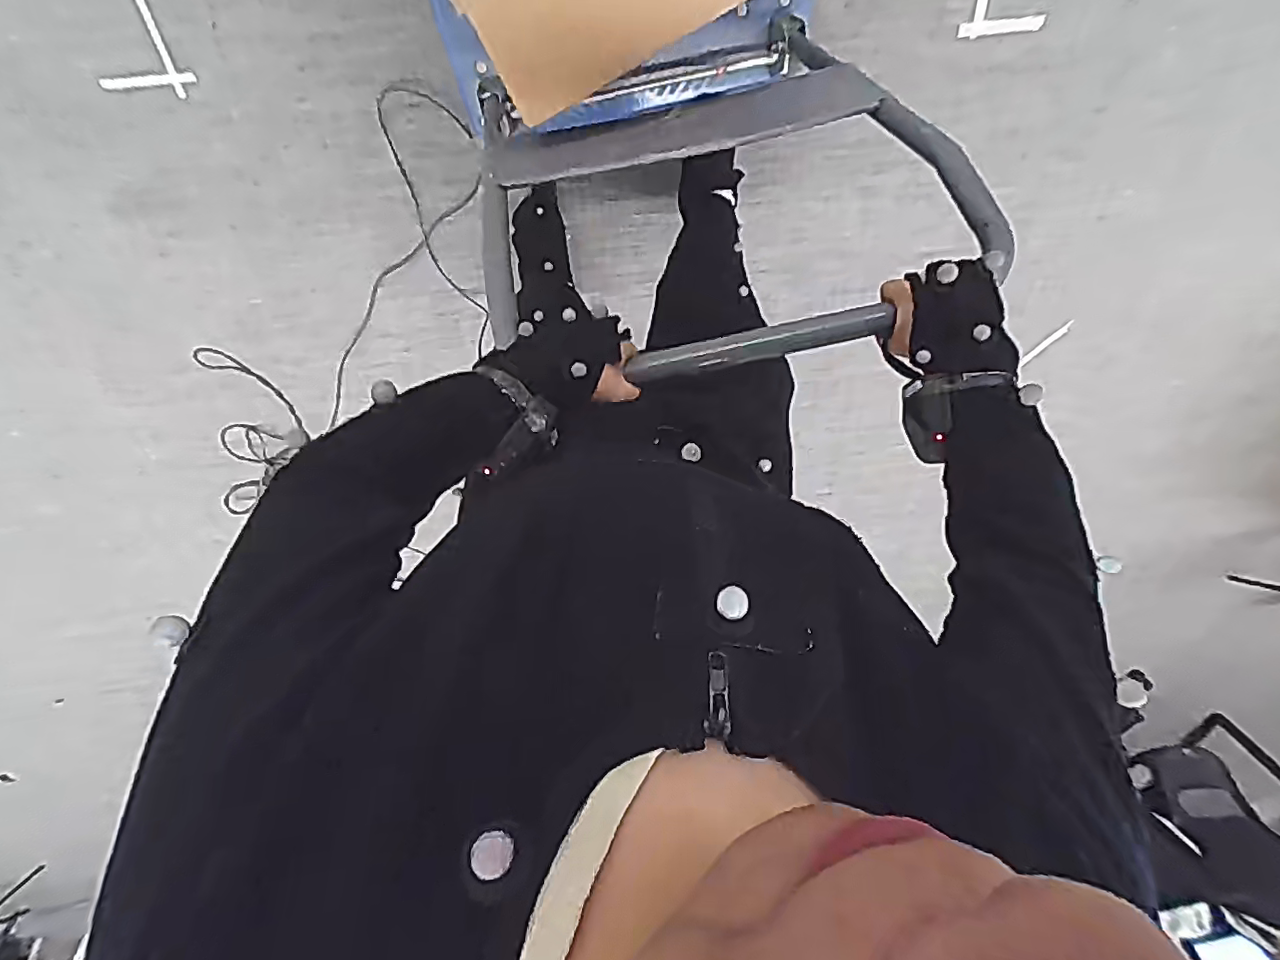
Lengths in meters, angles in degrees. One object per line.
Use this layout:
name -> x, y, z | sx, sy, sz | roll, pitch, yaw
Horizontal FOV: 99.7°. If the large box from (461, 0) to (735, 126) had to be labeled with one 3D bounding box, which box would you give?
large box -> -0.050, -0.705, 0.617 | 0.408, 0.320, 0.320 | -25, 138, 11
